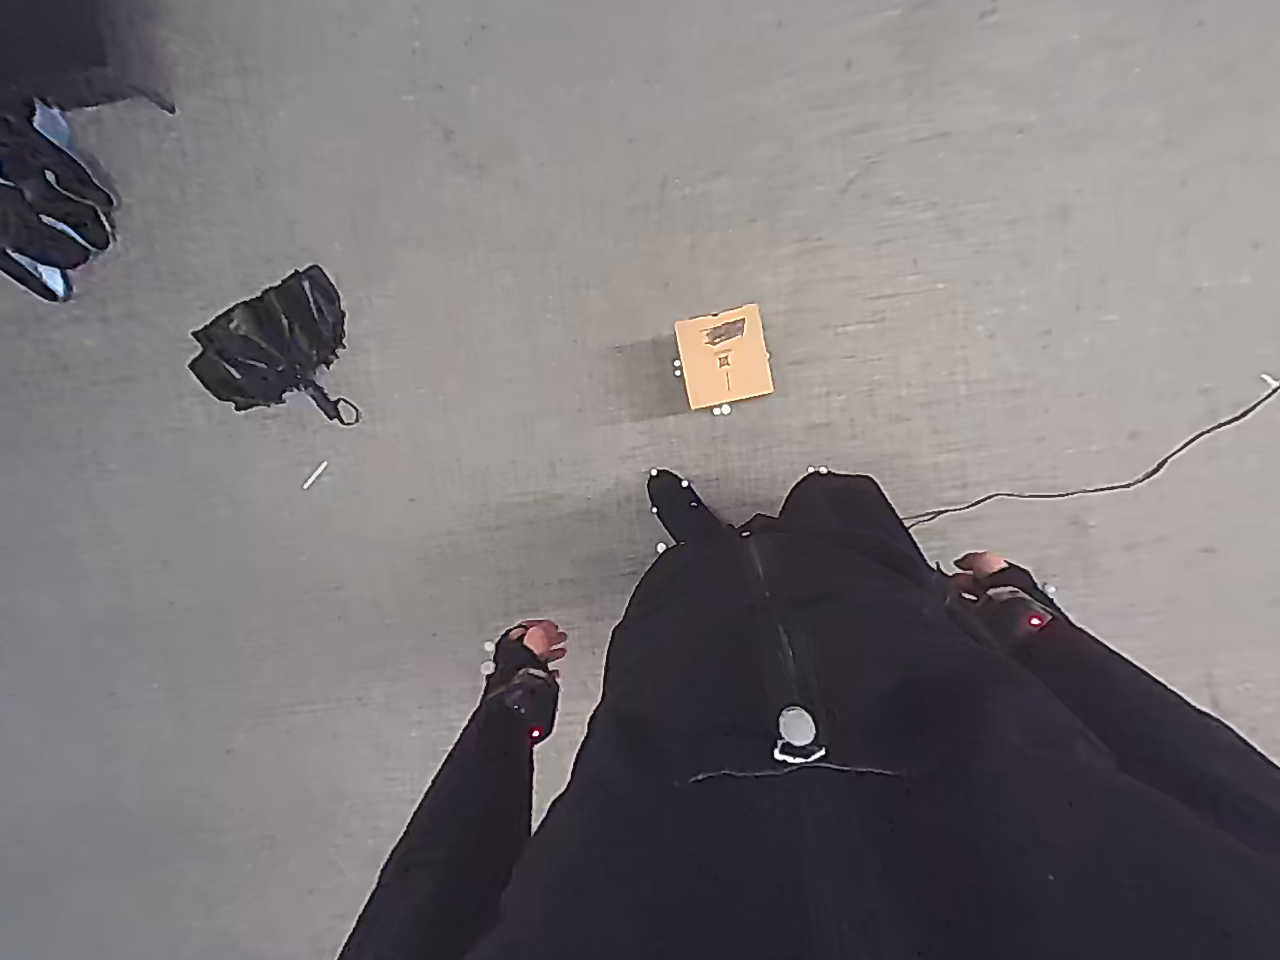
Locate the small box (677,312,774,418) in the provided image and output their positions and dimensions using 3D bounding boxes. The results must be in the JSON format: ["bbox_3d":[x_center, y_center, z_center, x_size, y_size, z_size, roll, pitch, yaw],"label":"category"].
[{"bbox_3d":[0.169,-0.230,1.122,0.168,0.176,0.179,-11,94,5],"label":"small box"}]
